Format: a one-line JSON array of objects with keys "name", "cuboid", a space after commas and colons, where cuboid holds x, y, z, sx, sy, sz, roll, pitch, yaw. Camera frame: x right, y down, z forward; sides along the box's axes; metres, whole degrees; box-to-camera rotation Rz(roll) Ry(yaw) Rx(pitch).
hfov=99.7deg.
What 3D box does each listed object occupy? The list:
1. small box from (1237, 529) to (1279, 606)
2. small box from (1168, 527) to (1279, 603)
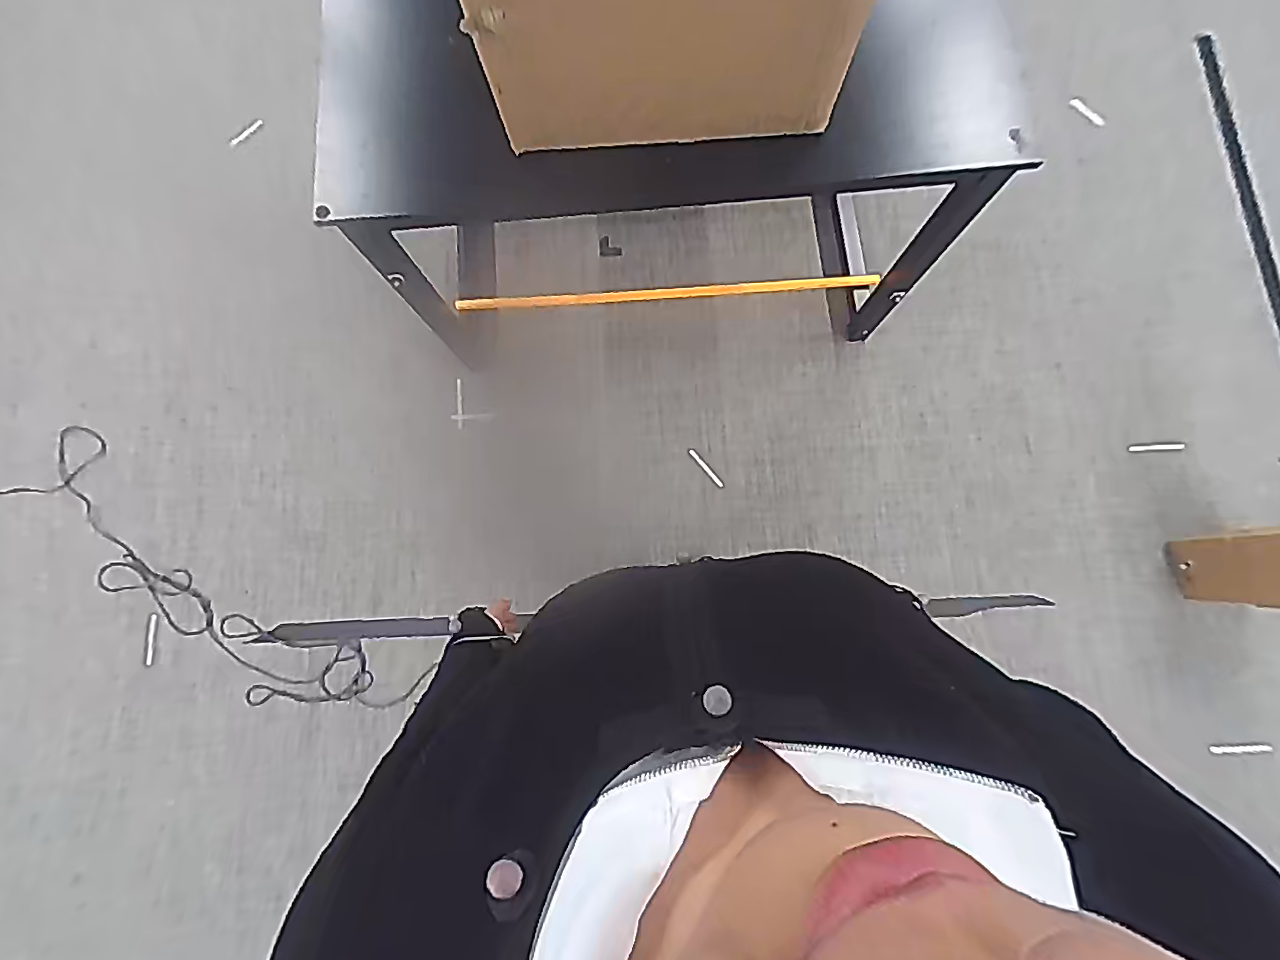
[{"name": "small box", "cuboid": [1.532, 0.193, 1.224, 0.168, 0.176, 0.179, -8, 81, 1]}, {"name": "small box", "cuboid": [1.535, 0.215, 1.387, 0.179, 0.176, 0.168, -11, 80, 1]}]
